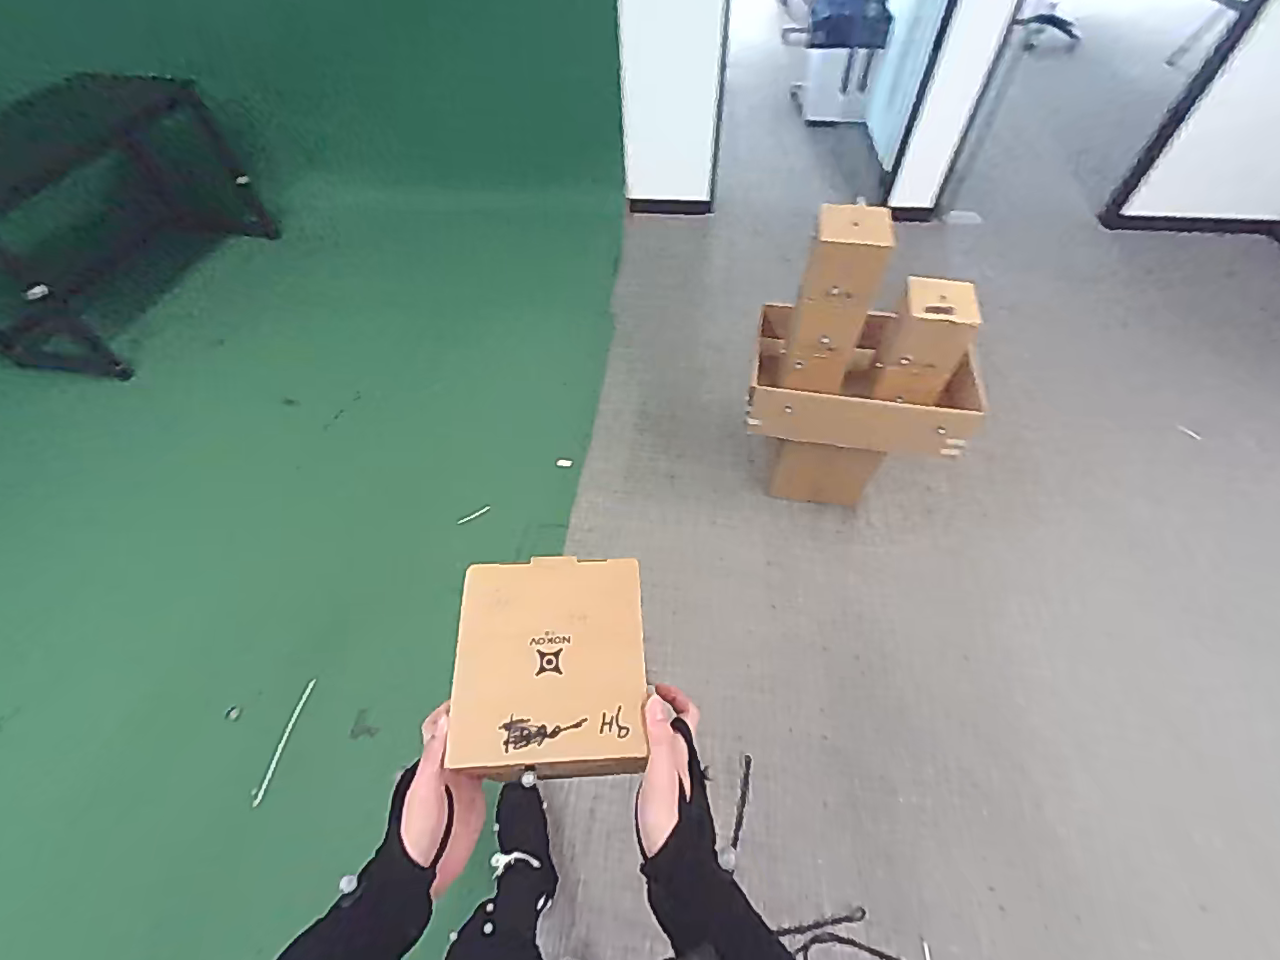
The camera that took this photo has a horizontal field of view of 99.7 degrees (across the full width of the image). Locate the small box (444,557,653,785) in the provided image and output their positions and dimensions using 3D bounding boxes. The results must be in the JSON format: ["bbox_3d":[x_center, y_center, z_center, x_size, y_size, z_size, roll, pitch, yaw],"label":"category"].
[{"bbox_3d":[-0.076,0.192,0.534,0.168,0.176,0.179,-1,56,-2],"label":"small box"}]

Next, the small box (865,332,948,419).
[{"bbox_3d":[0.766,-0.304,1.574,0.168,0.176,0.179,9,55,8],"label":"small box"}]

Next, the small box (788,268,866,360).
[{"bbox_3d":[0.507,-0.457,1.486,0.168,0.176,0.179,8,54,8],"label":"small box"}]

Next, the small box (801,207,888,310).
[{"bbox_3d":[0.506,-0.554,1.356,0.168,0.176,0.179,8,54,8],"label":"small box"}]

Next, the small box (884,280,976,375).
[{"bbox_3d":[0.764,-0.403,1.442,0.168,0.176,0.179,10,54,8],"label":"small box"}]
